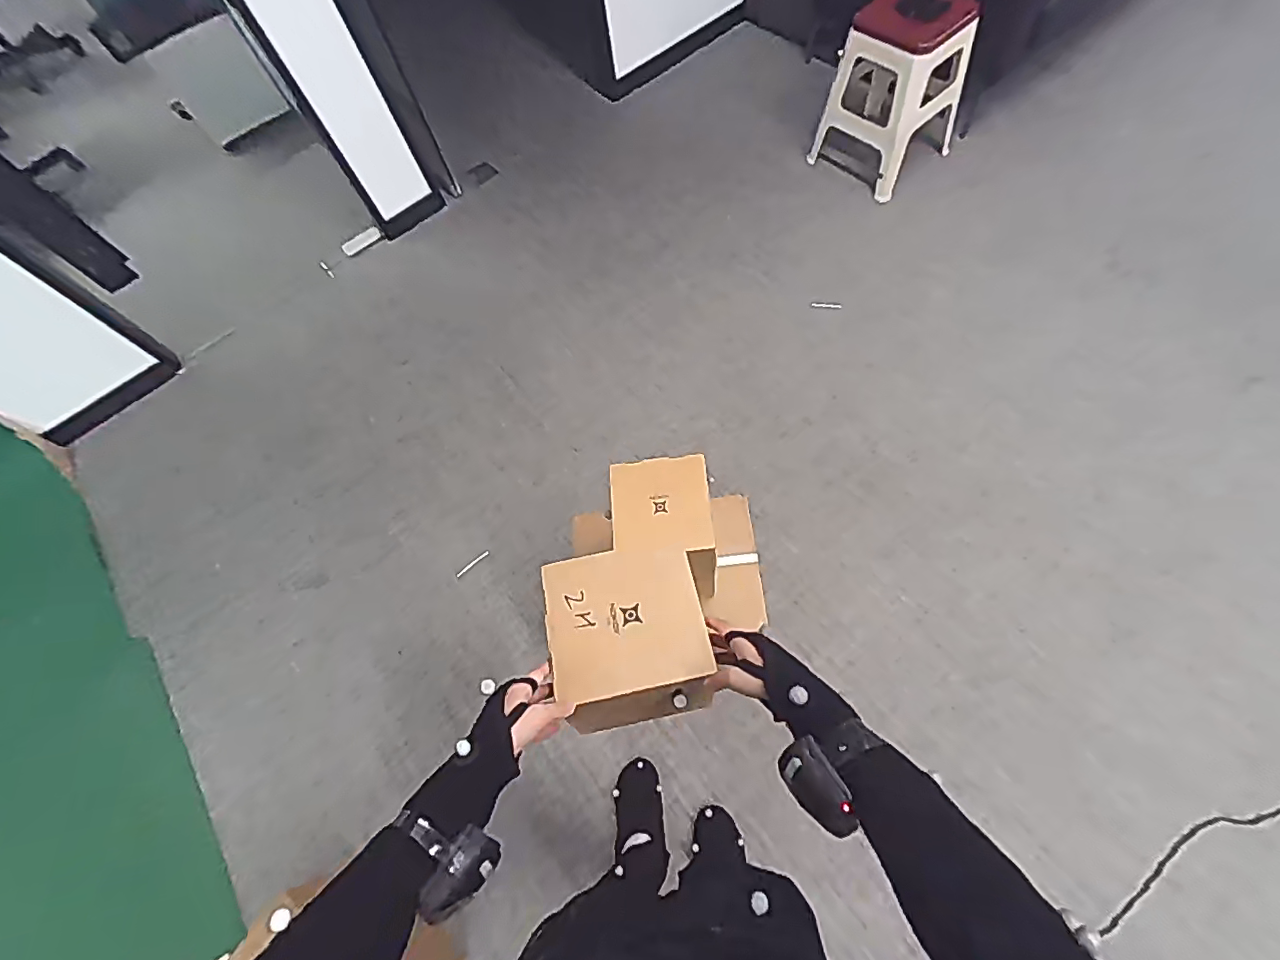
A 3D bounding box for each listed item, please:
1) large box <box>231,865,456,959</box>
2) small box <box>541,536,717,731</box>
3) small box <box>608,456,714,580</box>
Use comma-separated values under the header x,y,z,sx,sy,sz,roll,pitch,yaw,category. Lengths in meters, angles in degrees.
x,y,z,sx,sy,sz,roll,pitch,yaw,category
-0.639,1.059,1.029,0.320,0.320,0.408,32,73,22,large box
-0.014,0.192,0.664,0.179,0.176,0.168,-11,54,-3,small box
0.040,0.080,0.962,0.168,0.176,0.179,-7,61,4,small box
